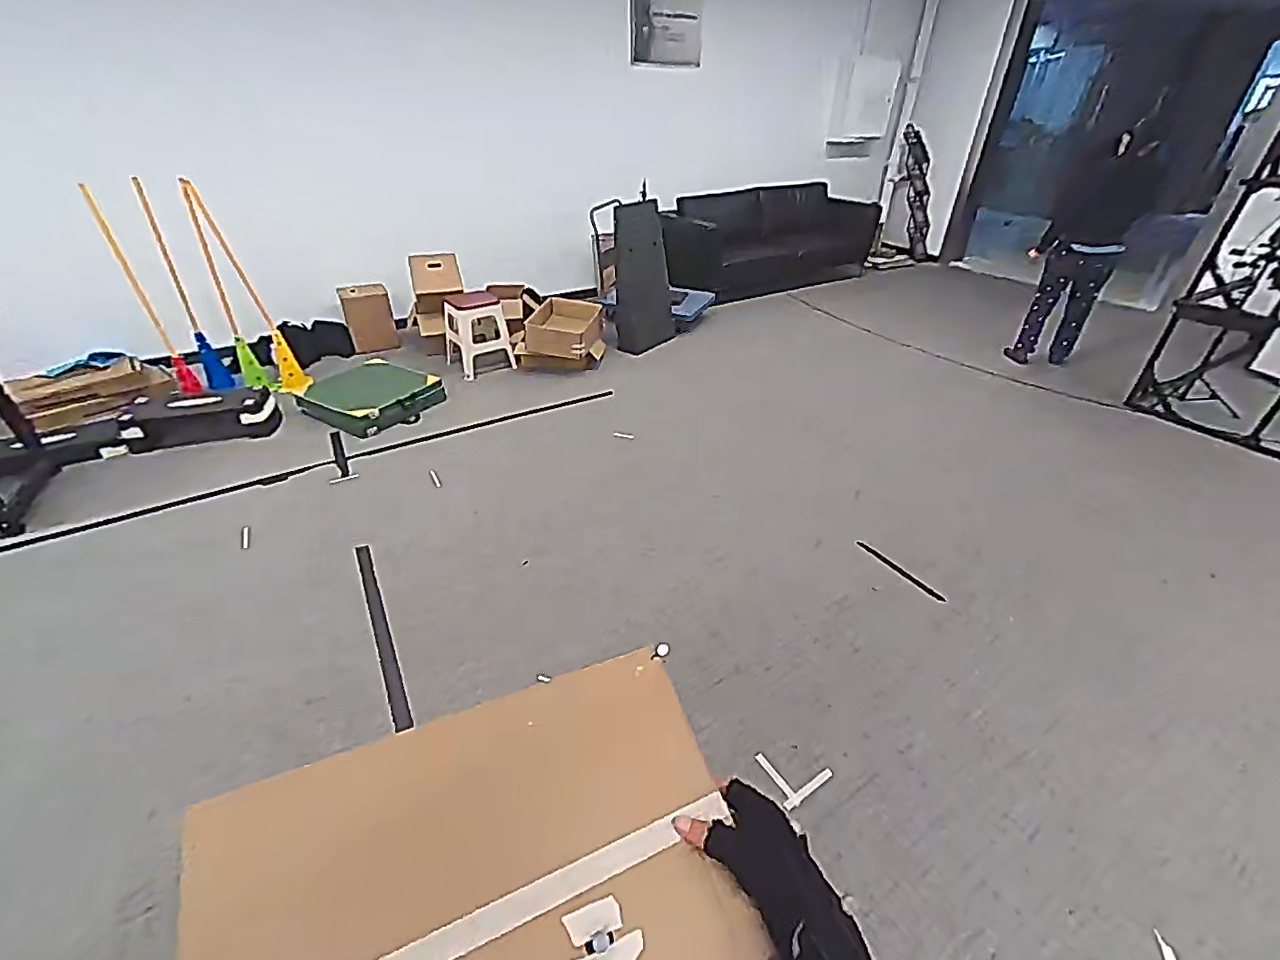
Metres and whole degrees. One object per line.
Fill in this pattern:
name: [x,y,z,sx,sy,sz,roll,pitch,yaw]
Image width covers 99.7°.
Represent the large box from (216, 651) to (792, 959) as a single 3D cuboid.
large box: [-0.131,0.432,0.545,0.408,0.320,0.320,-12,57,-22]
